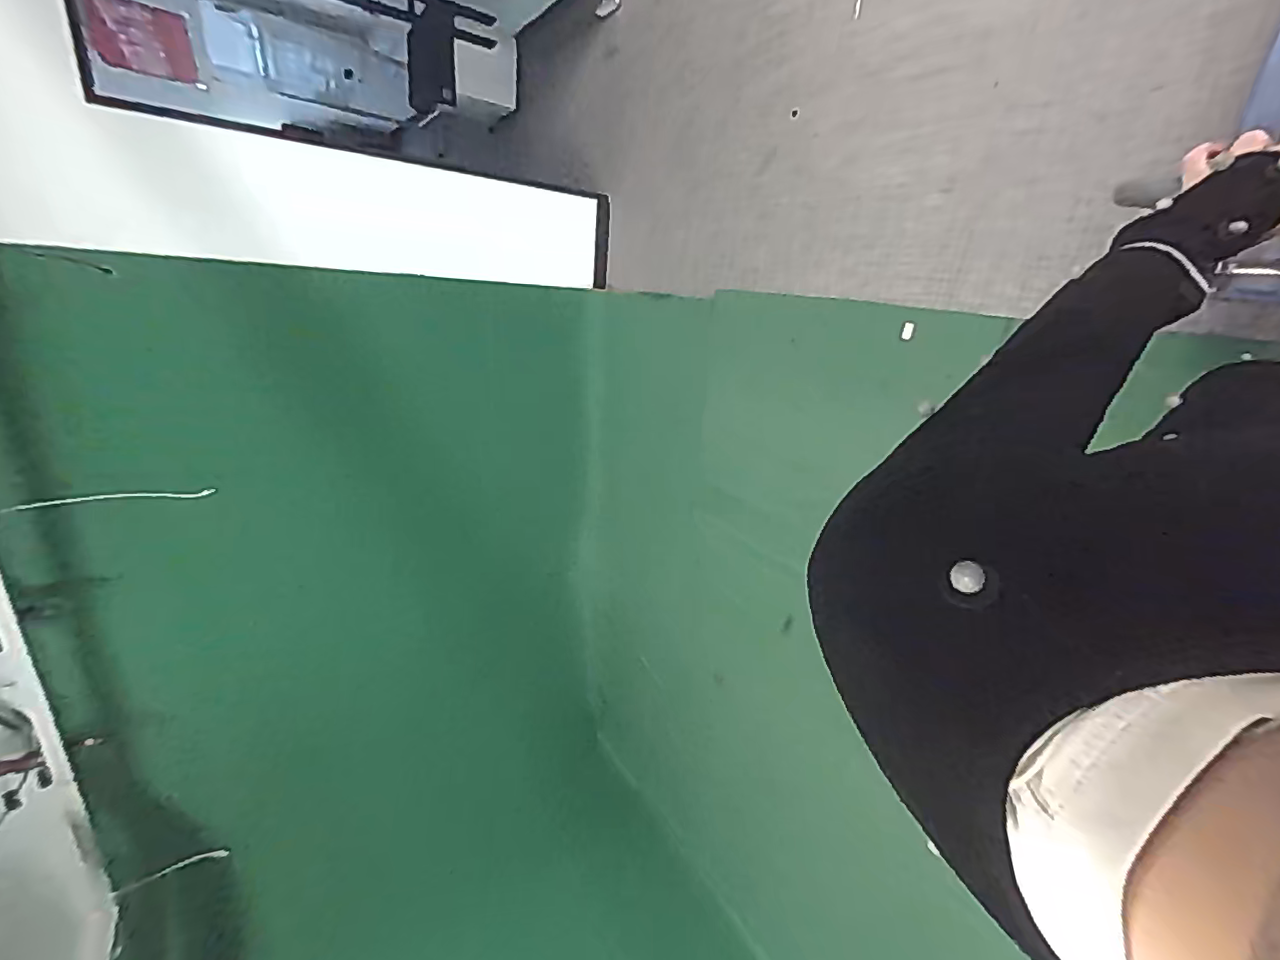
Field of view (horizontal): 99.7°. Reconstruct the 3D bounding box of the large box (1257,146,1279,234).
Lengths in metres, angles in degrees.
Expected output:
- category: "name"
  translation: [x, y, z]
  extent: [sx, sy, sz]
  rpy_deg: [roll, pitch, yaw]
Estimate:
- category: "large box"
  translation: [1.110, -0.536, 0.682]
  extent: [0.320, 0.320, 0.408]
  rpy_deg: [29, 119, 48]
